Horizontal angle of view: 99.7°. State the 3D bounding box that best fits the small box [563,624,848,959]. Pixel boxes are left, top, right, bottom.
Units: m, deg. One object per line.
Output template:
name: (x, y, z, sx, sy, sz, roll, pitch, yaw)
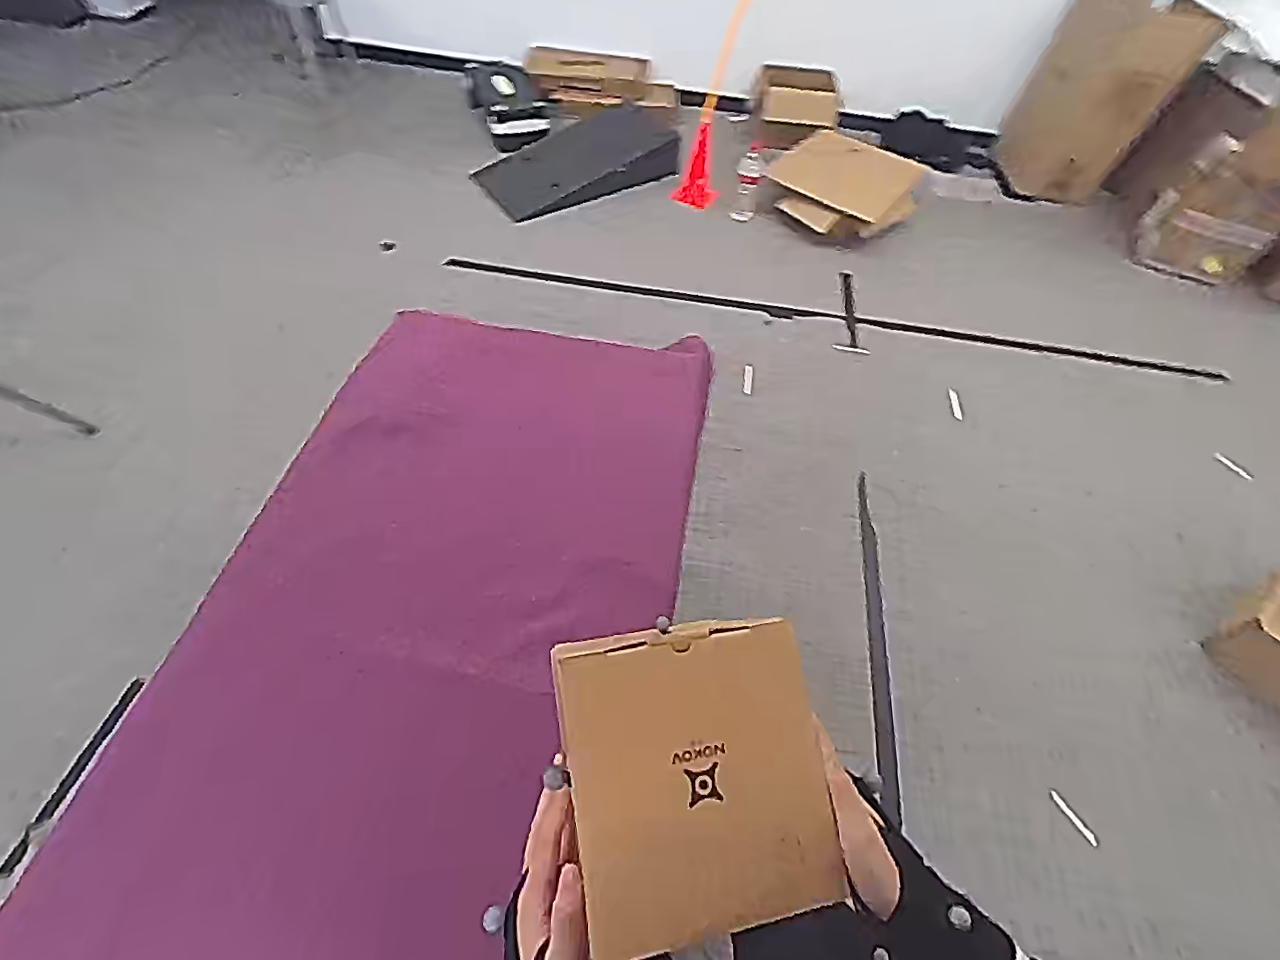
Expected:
small box: (0.030, 0.213, 0.425, 0.168, 0.176, 0.179, -6, 76, -11)
